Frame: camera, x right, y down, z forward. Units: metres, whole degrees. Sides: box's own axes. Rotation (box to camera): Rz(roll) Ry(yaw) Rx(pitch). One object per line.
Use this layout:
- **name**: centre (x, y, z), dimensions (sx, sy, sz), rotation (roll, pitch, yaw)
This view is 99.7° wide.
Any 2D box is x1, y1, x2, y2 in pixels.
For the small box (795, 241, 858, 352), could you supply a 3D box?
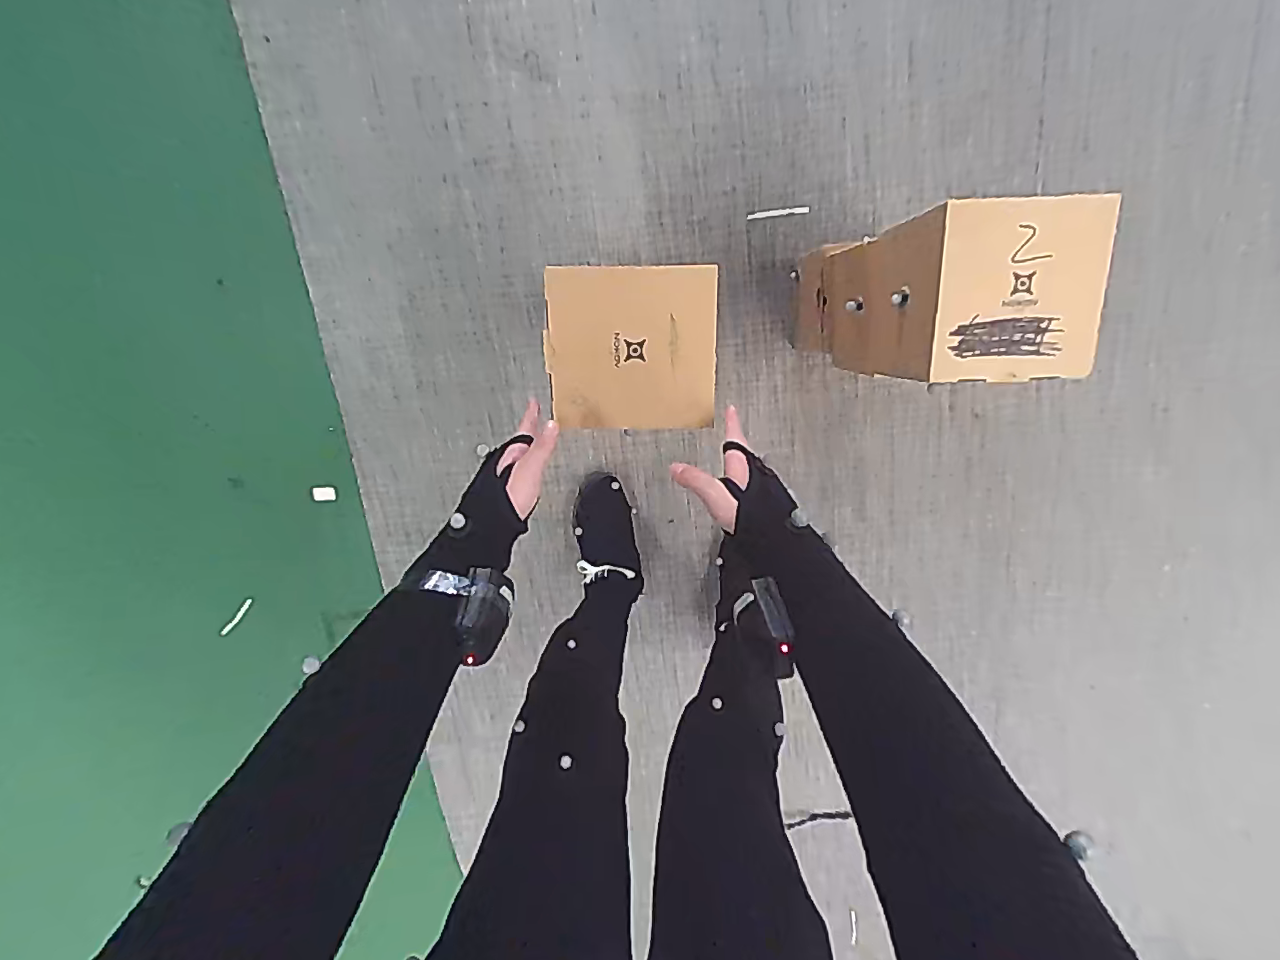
- **small box**: centre (0.368, -0.310, 0.923), dimensions (0.179, 0.176, 0.168), rotation (-5, 105, 2)

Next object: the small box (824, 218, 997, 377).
- **small box**: centre (0.373, -0.253, 0.771), dimensions (0.168, 0.176, 0.179), rotation (-9, 105, 3)

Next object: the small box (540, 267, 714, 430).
- **small box**: centre (-0.011, -0.153, 0.632), dimensions (0.179, 0.176, 0.168), rotation (-1, 106, 1)
